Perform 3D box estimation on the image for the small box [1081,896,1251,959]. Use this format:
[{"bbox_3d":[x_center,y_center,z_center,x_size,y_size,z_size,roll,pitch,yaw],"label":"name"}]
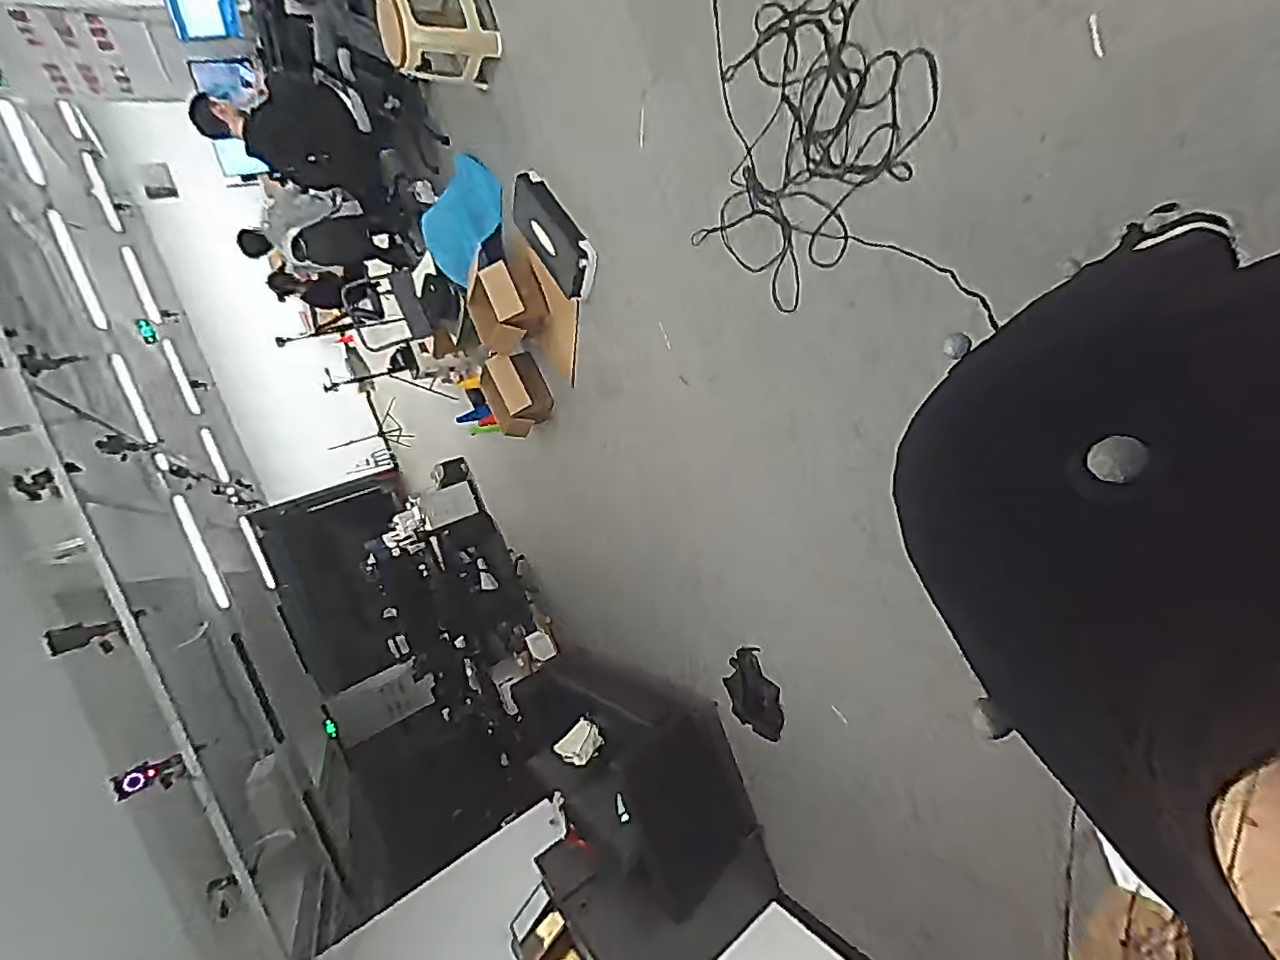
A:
[{"bbox_3d":[0.739,0.731,0.736,0.168,0.176,0.179,-17,95,62],"label":"small box"}]
